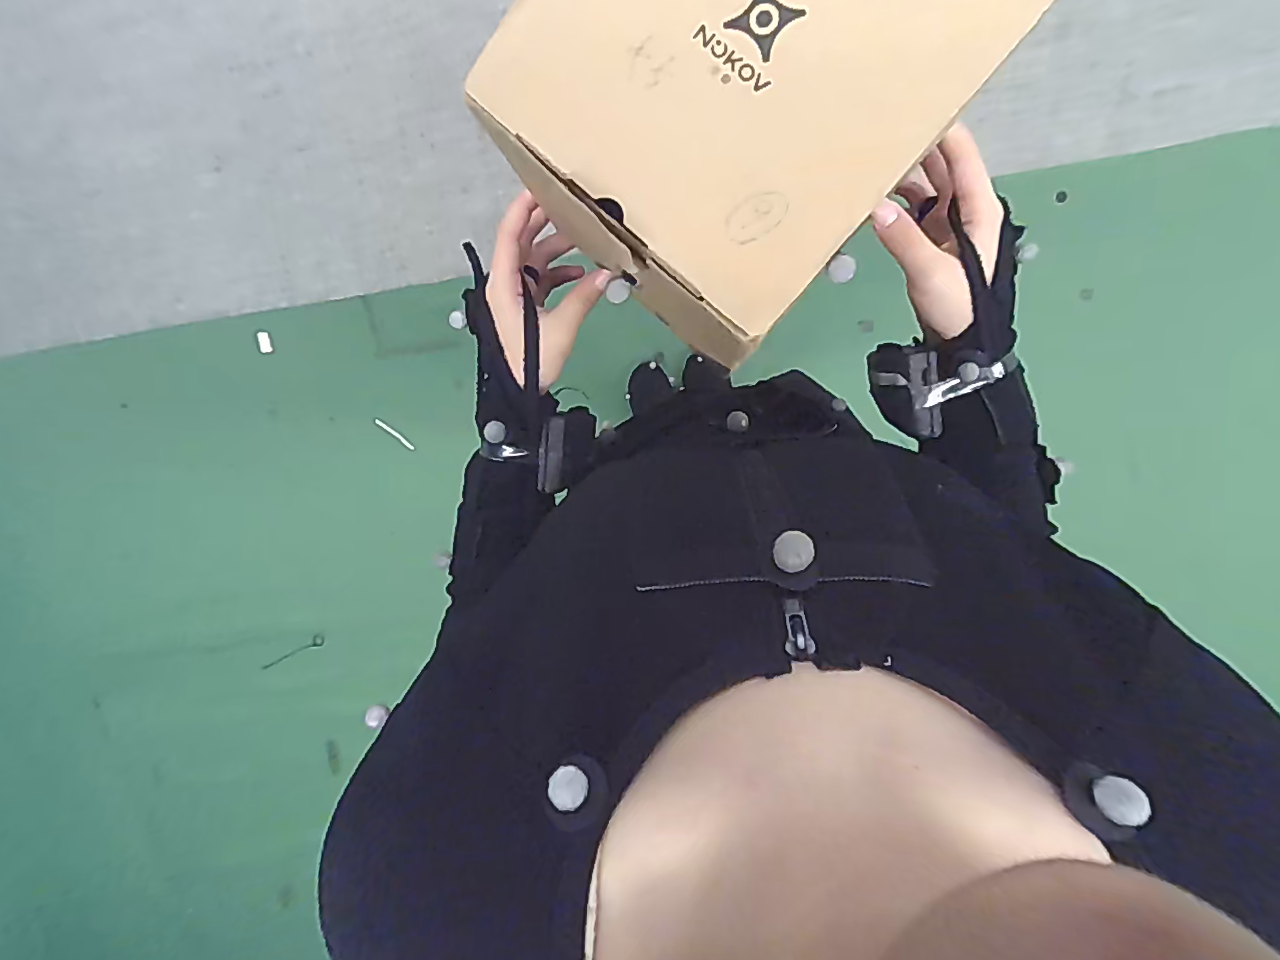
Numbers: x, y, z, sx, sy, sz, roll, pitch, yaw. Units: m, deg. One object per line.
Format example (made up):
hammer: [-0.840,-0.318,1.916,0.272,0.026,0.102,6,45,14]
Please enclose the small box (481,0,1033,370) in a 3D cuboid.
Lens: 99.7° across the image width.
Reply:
small box: [0.052,-0.181,0.307,0.168,0.176,0.179,41,99,1]
